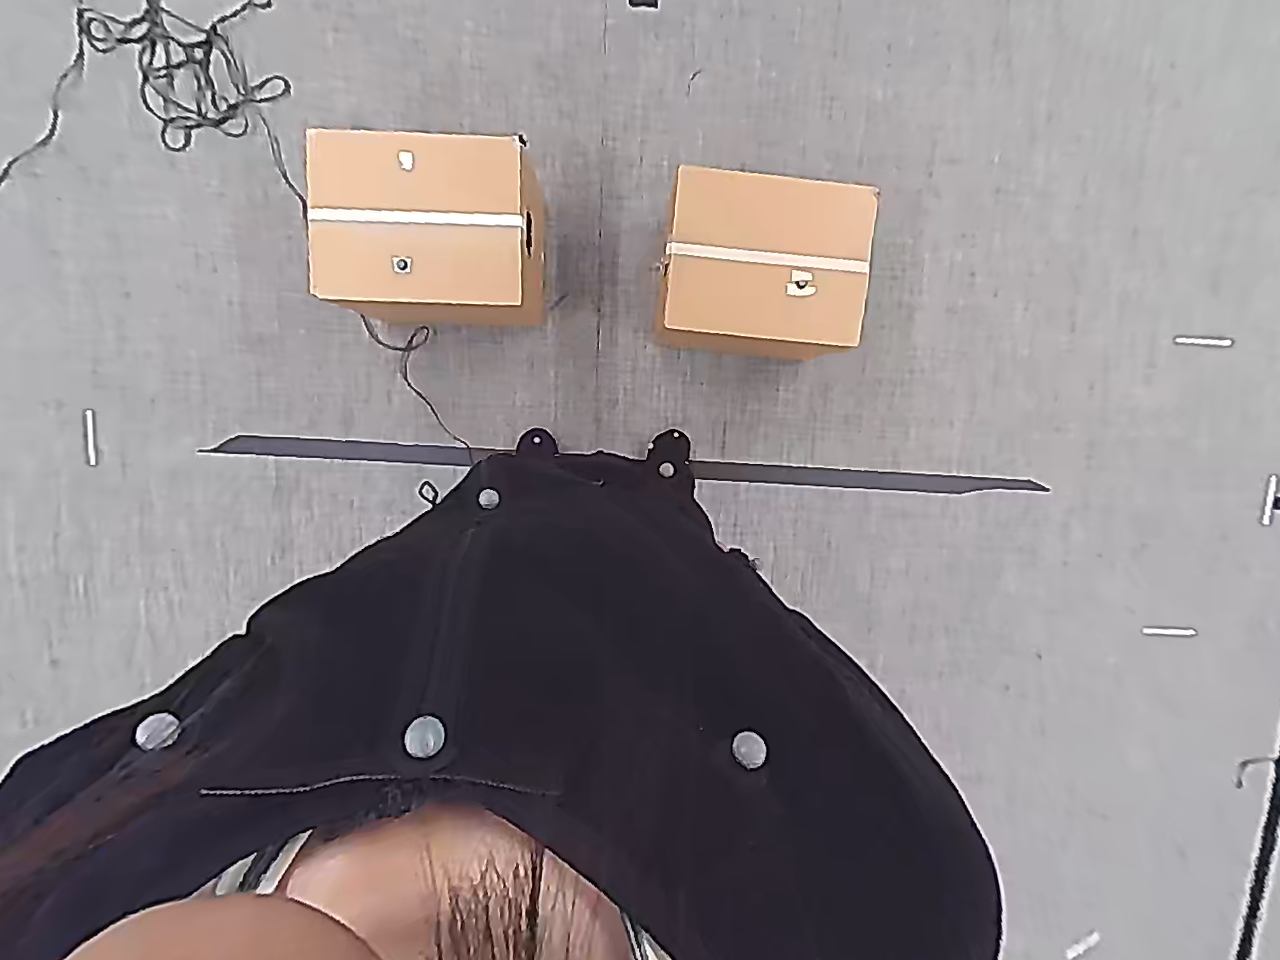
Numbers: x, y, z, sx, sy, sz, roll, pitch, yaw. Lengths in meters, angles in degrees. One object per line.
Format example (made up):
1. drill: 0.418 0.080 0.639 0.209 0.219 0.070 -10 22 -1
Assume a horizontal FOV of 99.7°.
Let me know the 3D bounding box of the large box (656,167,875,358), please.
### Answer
1. large box: 0.255 -0.466 1.235 0.408 0.320 0.320 5 97 -4
